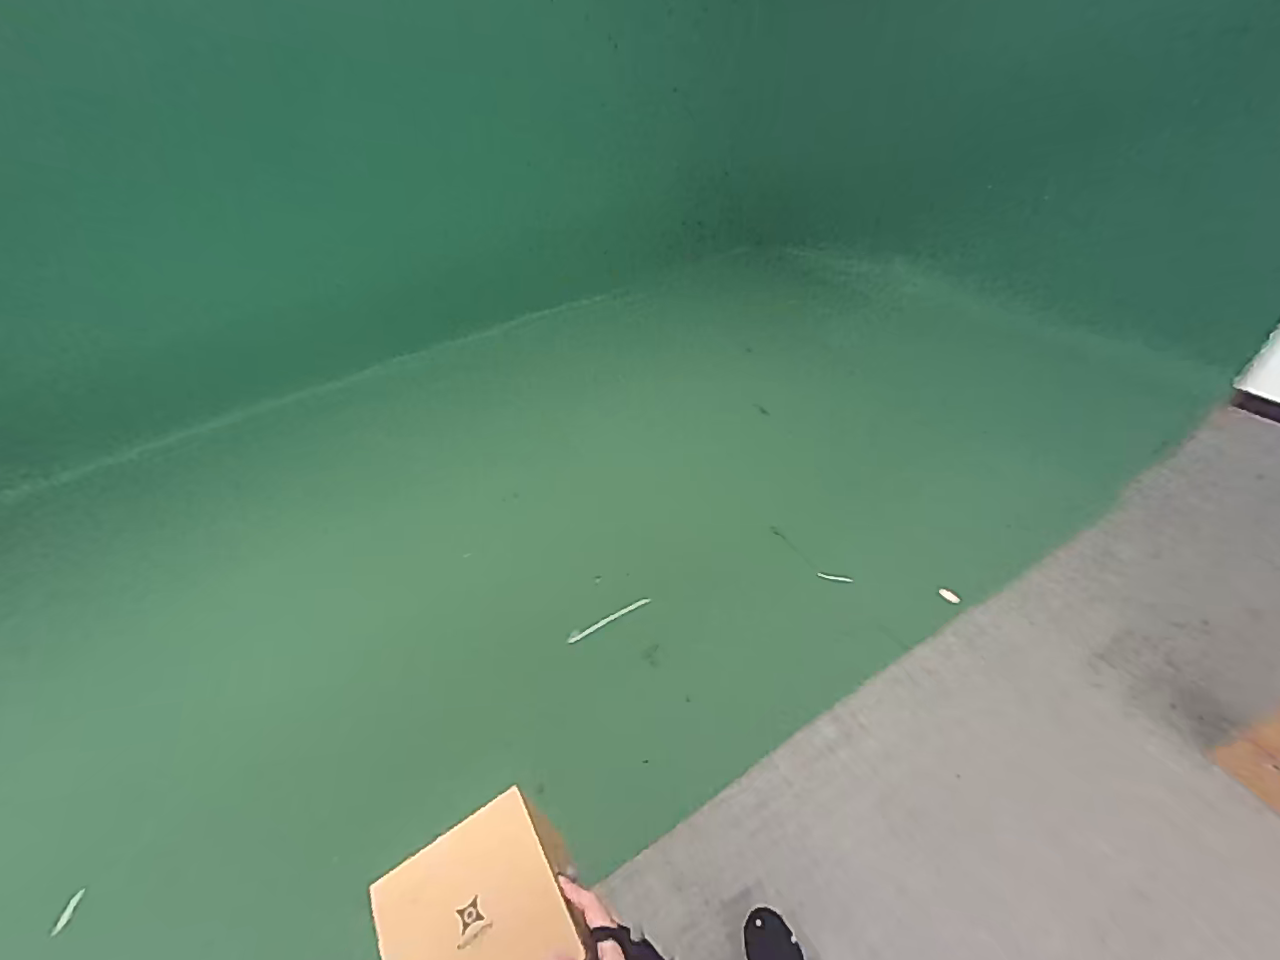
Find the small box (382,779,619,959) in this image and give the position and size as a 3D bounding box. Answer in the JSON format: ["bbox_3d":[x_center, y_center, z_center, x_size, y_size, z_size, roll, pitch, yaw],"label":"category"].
[{"bbox_3d":[-0.137,0.464,0.561,0.168,0.176,0.179,-27,44,-17],"label":"small box"}]

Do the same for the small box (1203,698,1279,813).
[{"bbox_3d":[1.585,0.688,1.344,0.168,0.176,0.179,-22,45,-14],"label":"small box"}]
